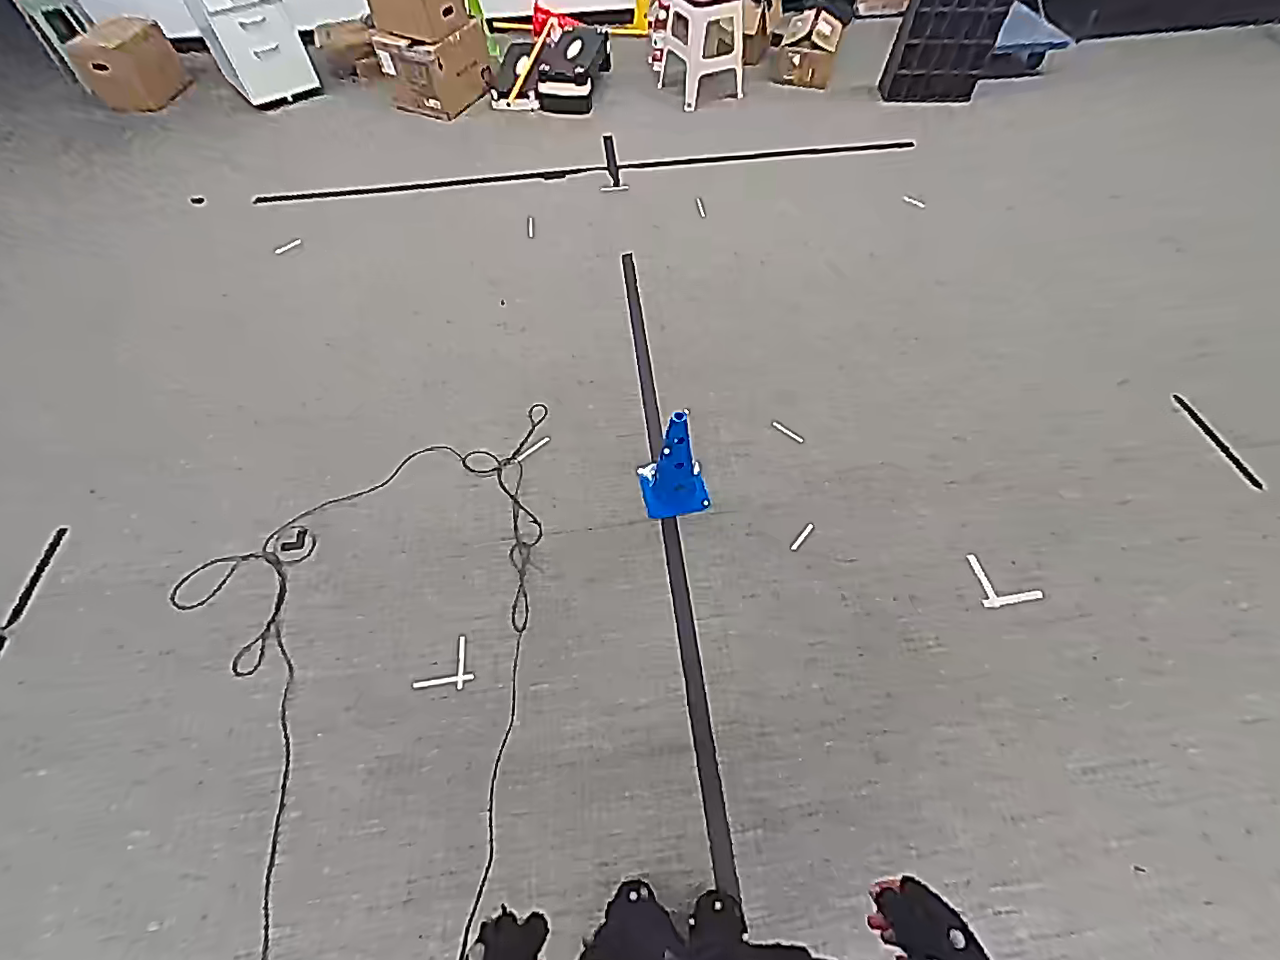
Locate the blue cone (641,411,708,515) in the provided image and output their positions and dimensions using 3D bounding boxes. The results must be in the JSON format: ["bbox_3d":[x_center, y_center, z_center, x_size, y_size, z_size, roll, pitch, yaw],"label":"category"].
[{"bbox_3d":[0.106,-0.066,1.574,0.192,0.380,0.193,-9,57,-6],"label":"blue cone"}]
